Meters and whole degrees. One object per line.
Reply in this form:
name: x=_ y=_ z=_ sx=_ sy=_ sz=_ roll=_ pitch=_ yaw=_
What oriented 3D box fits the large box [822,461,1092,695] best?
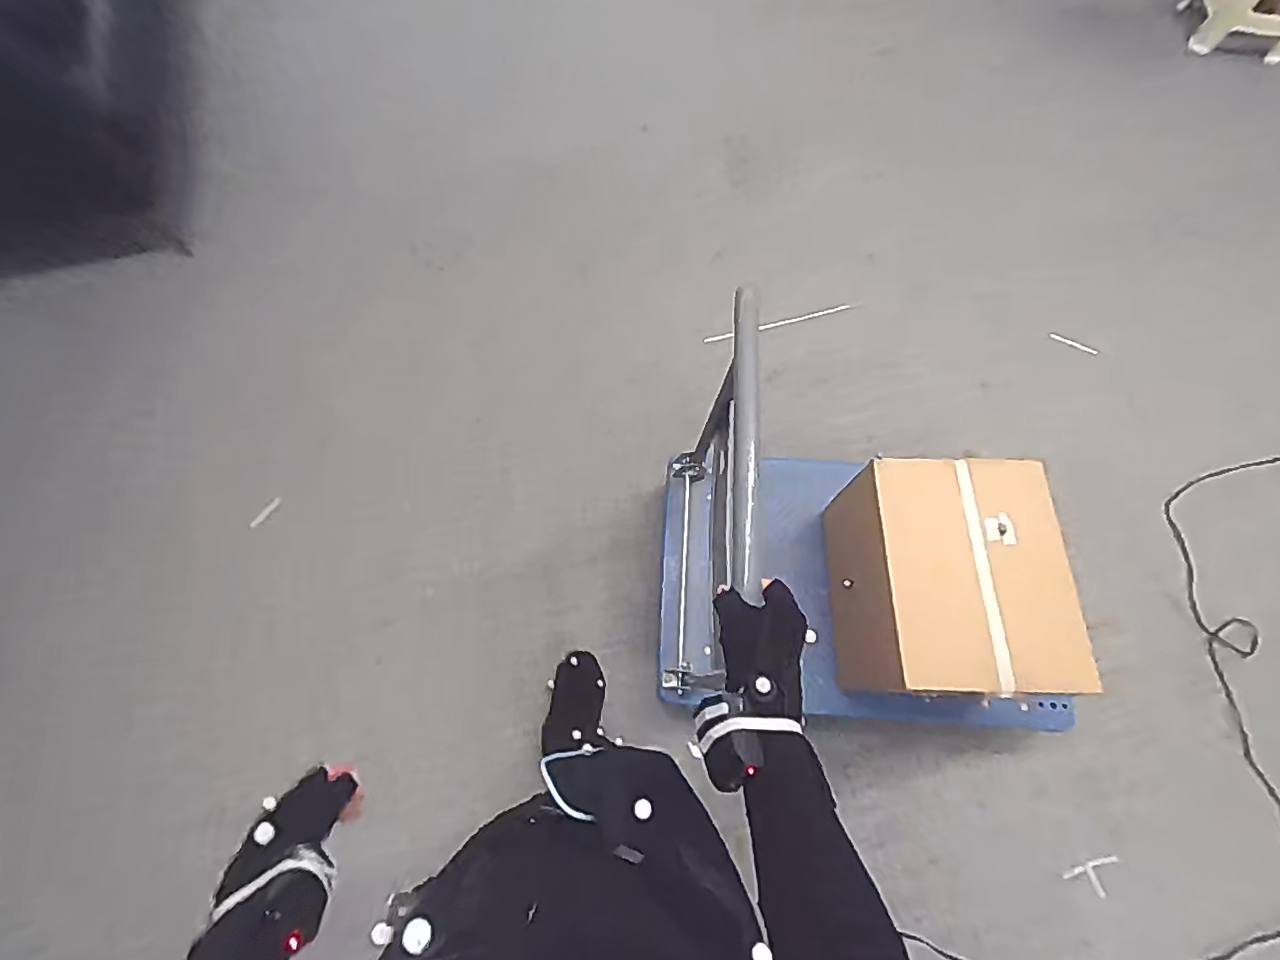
large box: x=0.577 y=0.209 z=1.077 sx=0.320 sy=0.320 sz=0.408 roll=2 pitch=67 yaw=0
